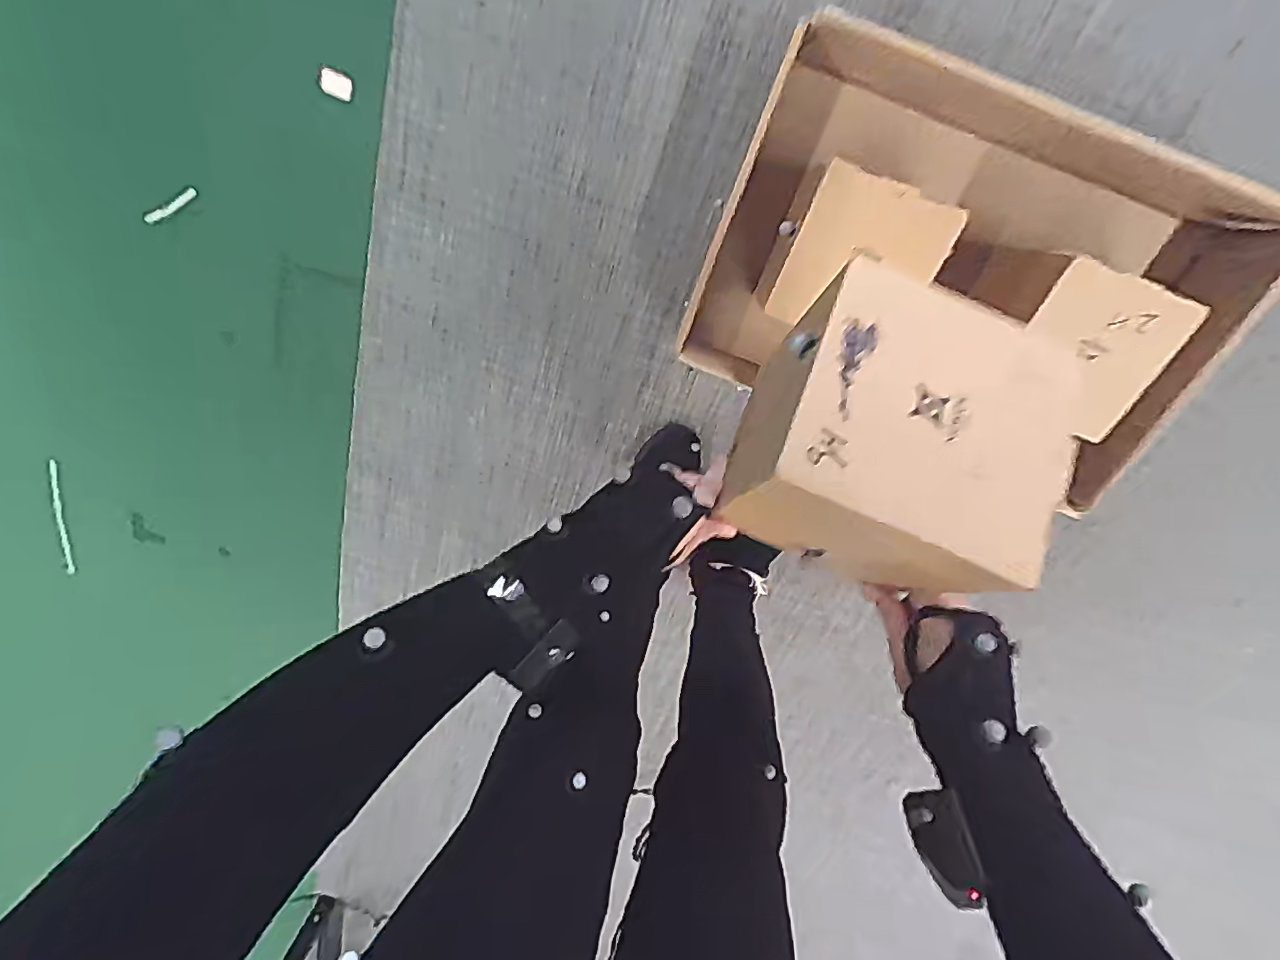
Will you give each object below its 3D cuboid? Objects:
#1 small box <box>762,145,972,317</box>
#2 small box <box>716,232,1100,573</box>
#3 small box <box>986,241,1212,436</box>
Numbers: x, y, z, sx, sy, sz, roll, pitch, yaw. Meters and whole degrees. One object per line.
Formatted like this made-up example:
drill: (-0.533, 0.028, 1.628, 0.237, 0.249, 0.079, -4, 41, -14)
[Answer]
small box: (0.266, -0.290, 0.687, 0.168, 0.176, 0.179, 21, 116, -3)
small box: (0.183, -0.040, 0.413, 0.179, 0.176, 0.168, 24, 78, -3)
small box: (0.533, -0.189, 0.695, 0.168, 0.176, 0.179, 22, 117, -3)
